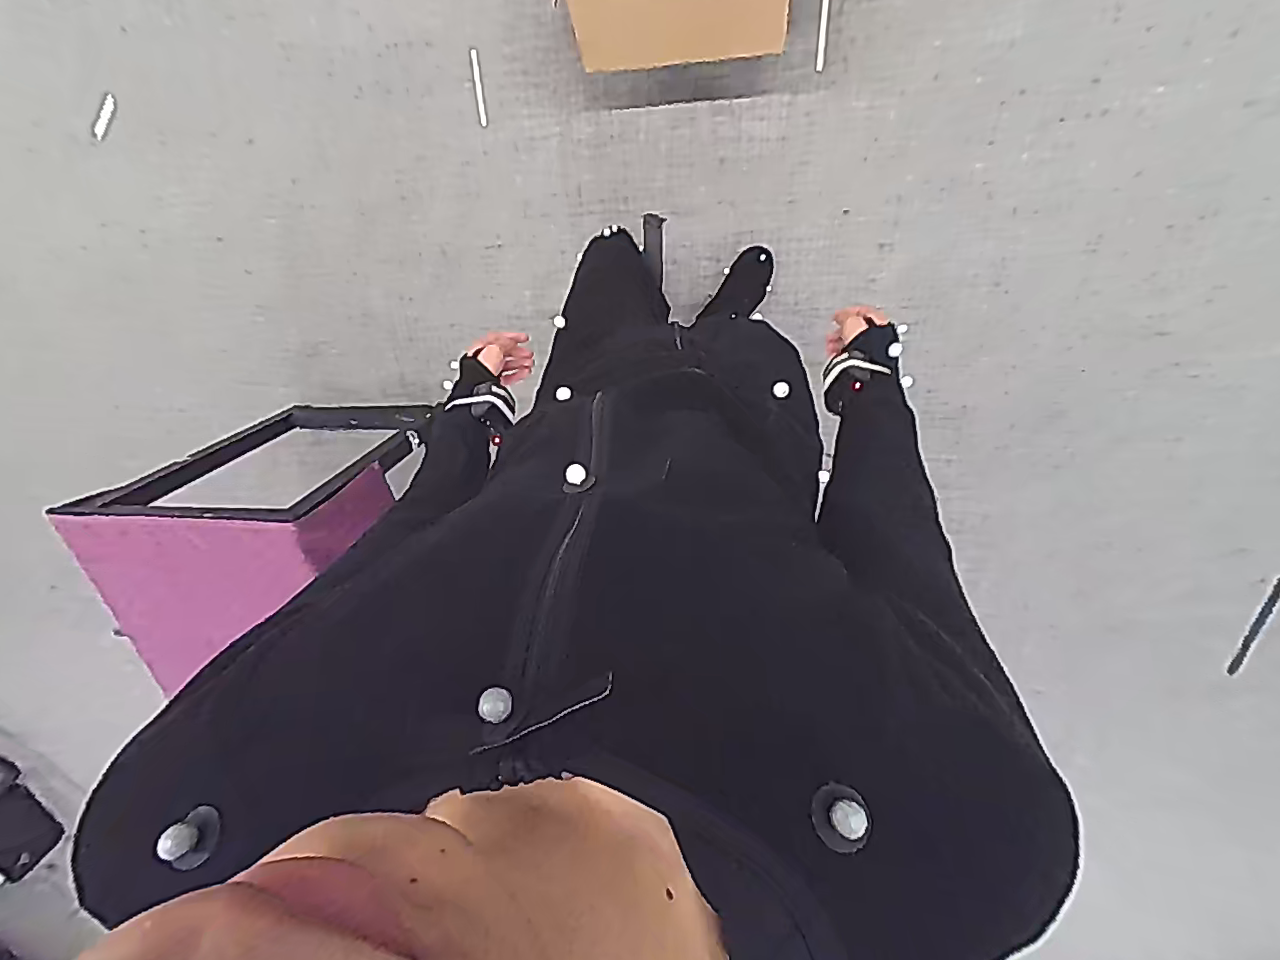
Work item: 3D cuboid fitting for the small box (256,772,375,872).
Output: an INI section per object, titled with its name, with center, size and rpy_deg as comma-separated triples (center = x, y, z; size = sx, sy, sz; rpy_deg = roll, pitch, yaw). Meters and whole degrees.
[small box]
center = -0.853, 0.906, 1.438
size = 0.179, 0.176, 0.168
rpy_deg = -12, 115, 15
